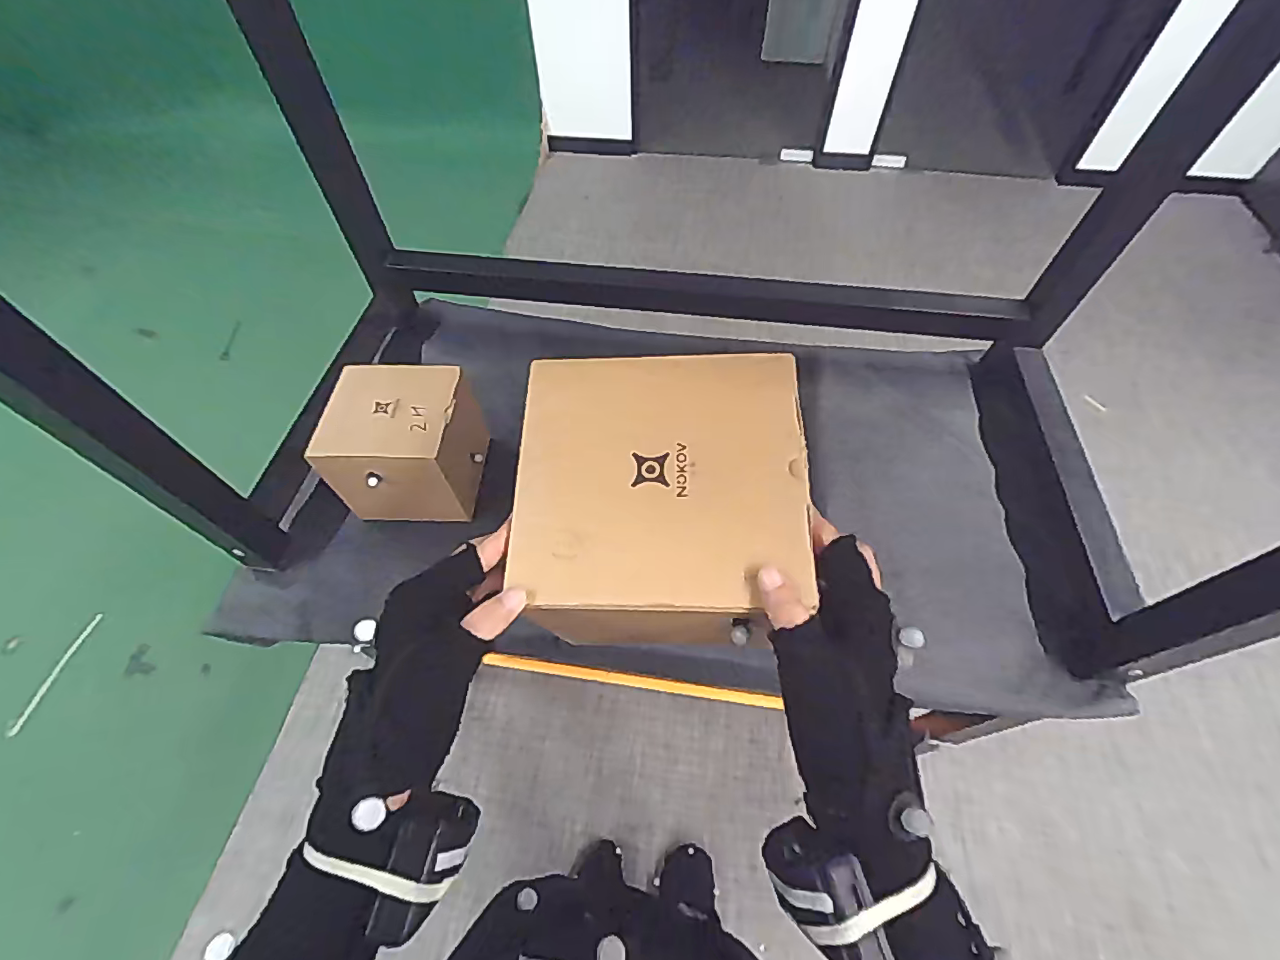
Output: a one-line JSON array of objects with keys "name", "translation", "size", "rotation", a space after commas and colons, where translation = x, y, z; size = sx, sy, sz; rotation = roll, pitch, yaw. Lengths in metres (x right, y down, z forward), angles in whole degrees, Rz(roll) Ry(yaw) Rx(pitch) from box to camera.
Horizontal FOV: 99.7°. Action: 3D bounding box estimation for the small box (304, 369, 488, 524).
[{"name": "small box", "translation": [-0.344, -0.045, 0.803], "size": [0.179, 0.176, 0.168], "rotation": [2, 57, 1]}]
